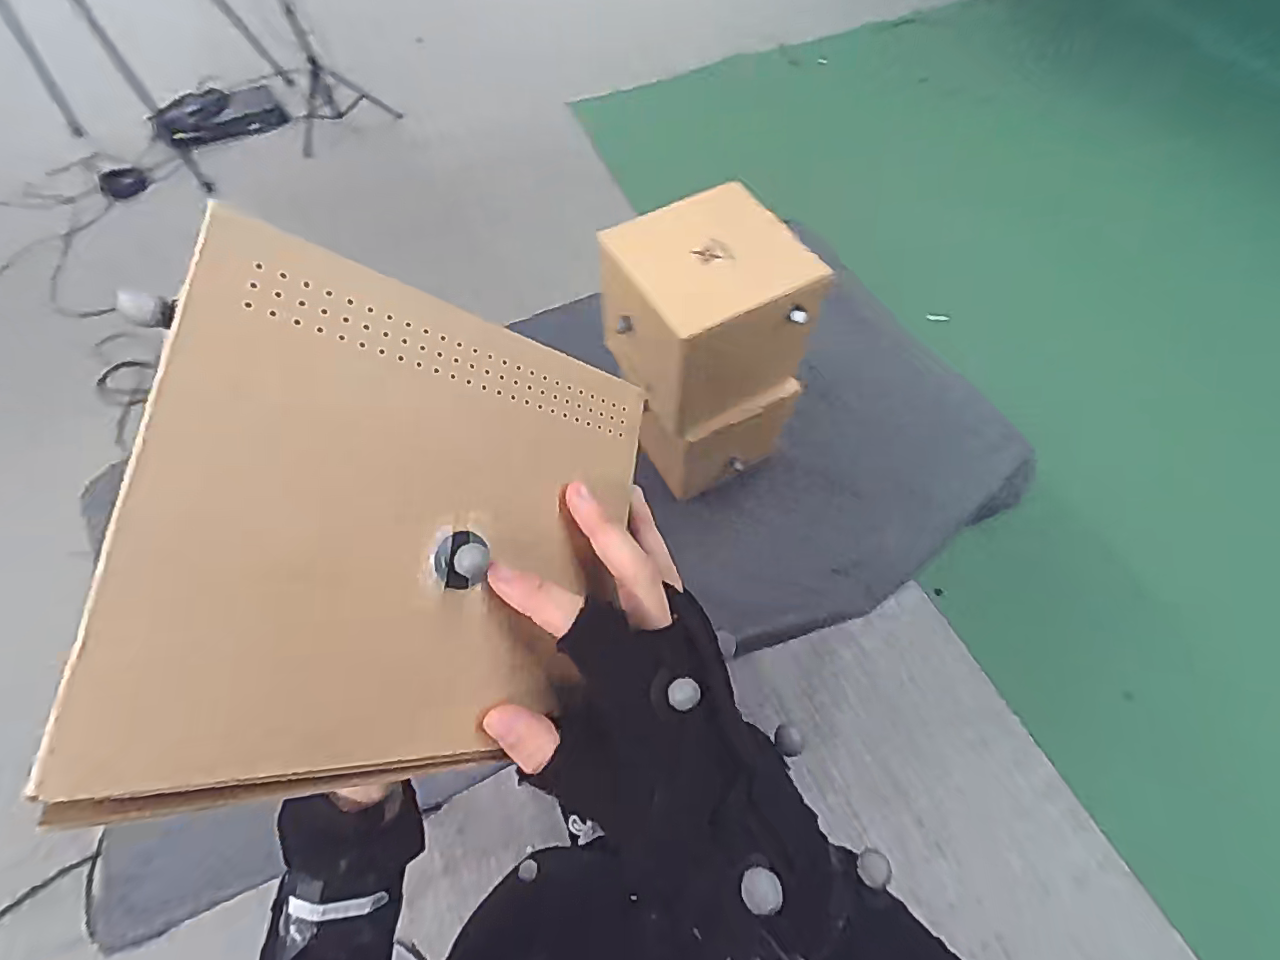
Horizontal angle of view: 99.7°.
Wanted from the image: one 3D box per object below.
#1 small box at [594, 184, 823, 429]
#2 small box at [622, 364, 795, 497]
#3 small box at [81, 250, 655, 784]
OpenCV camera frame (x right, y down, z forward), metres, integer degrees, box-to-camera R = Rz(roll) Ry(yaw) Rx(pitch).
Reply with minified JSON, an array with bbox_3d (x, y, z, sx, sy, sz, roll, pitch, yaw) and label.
[{"bbox_3d":[0.067,-0.187,0.610,0.179,0.176,0.168,-28,66,-14],"label":"small box"},{"bbox_3d":[0.080,-0.108,0.752,0.168,0.176,0.179,-27,66,-13],"label":"small box"},{"bbox_3d":[-0.115,0.017,0.259,0.179,0.168,0.176,17,77,-40],"label":"small box"}]
